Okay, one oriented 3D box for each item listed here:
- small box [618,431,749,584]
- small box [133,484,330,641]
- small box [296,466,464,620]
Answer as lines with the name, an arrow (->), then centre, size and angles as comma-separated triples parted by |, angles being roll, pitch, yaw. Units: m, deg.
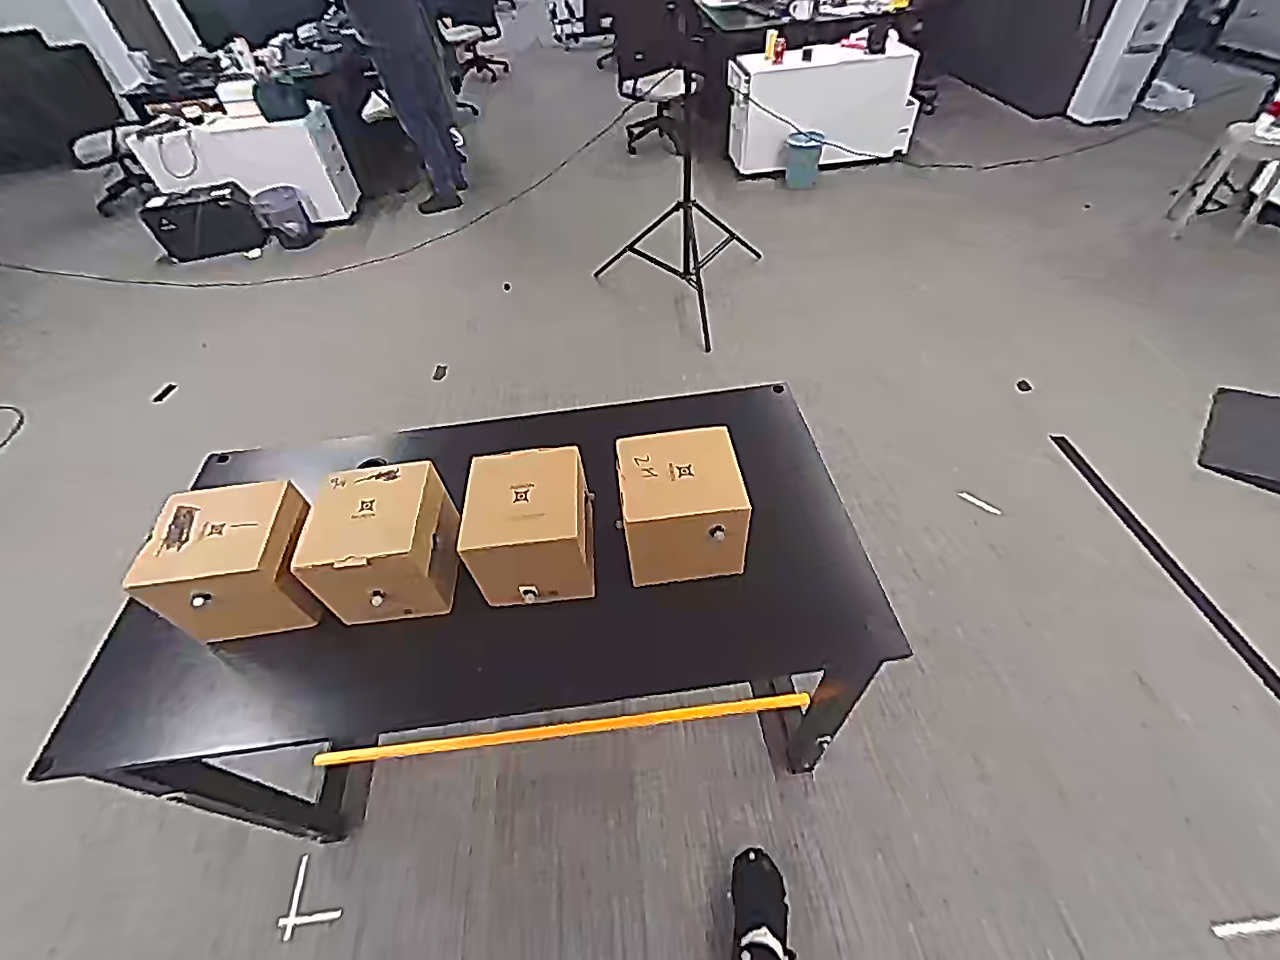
small box -> 0.062, 0.046, 0.852 | 0.179, 0.176, 0.168 | -7, 48, -1
small box -> -0.600, 0.132, 0.838 | 0.179, 0.176, 0.168 | -8, 49, -4
small box -> -0.386, 0.105, 0.844 | 0.168, 0.176, 0.179 | -7, 49, 0
